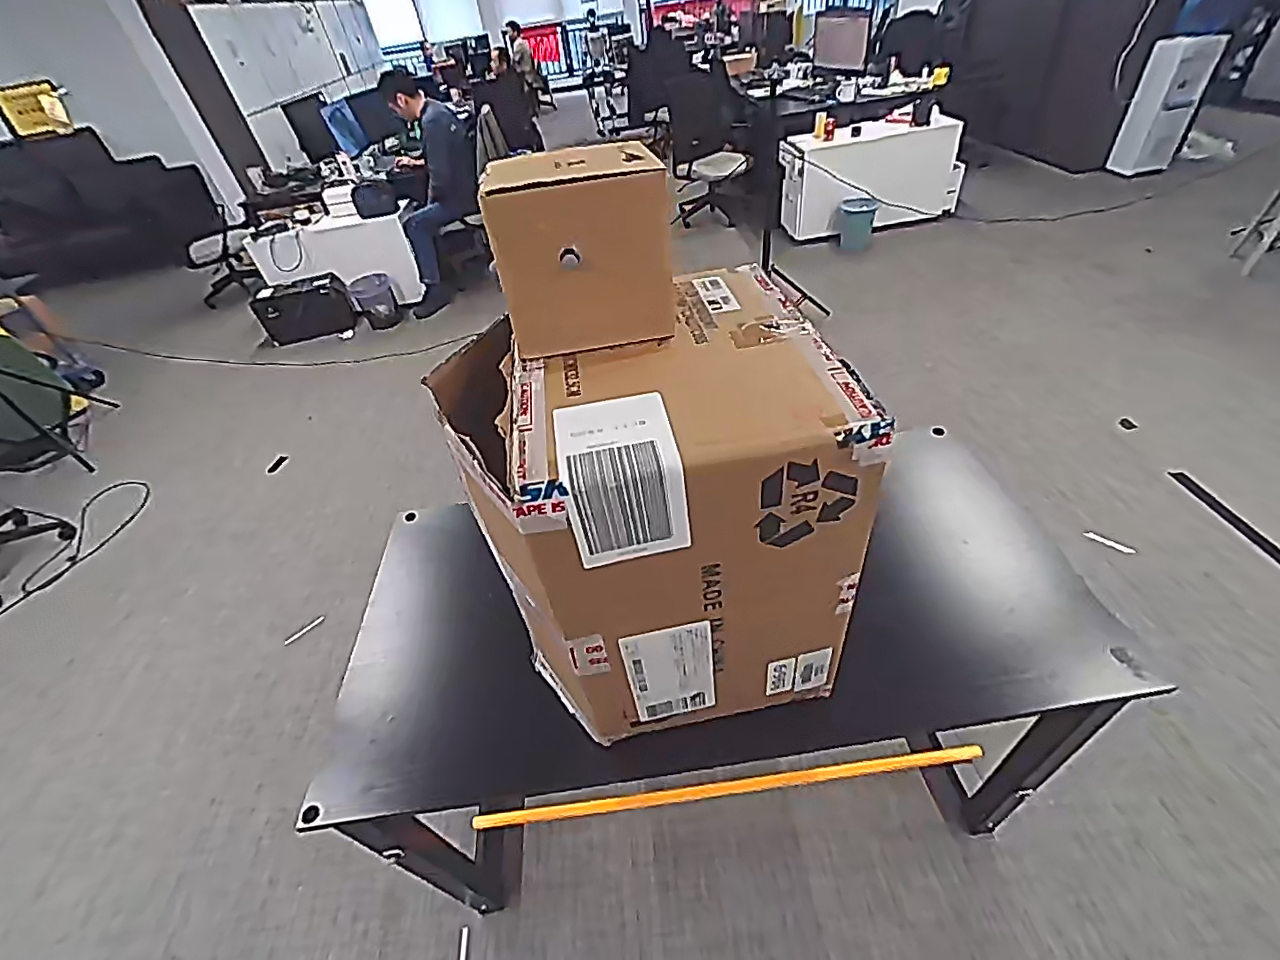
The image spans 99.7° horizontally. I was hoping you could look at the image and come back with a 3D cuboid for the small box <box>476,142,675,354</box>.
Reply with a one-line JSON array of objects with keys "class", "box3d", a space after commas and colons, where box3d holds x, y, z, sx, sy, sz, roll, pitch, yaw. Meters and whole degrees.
[{"class": "small box", "box3d": [-0.065, -0.256, 0.601, 0.179, 0.176, 0.168, -11, 40, -3]}]
